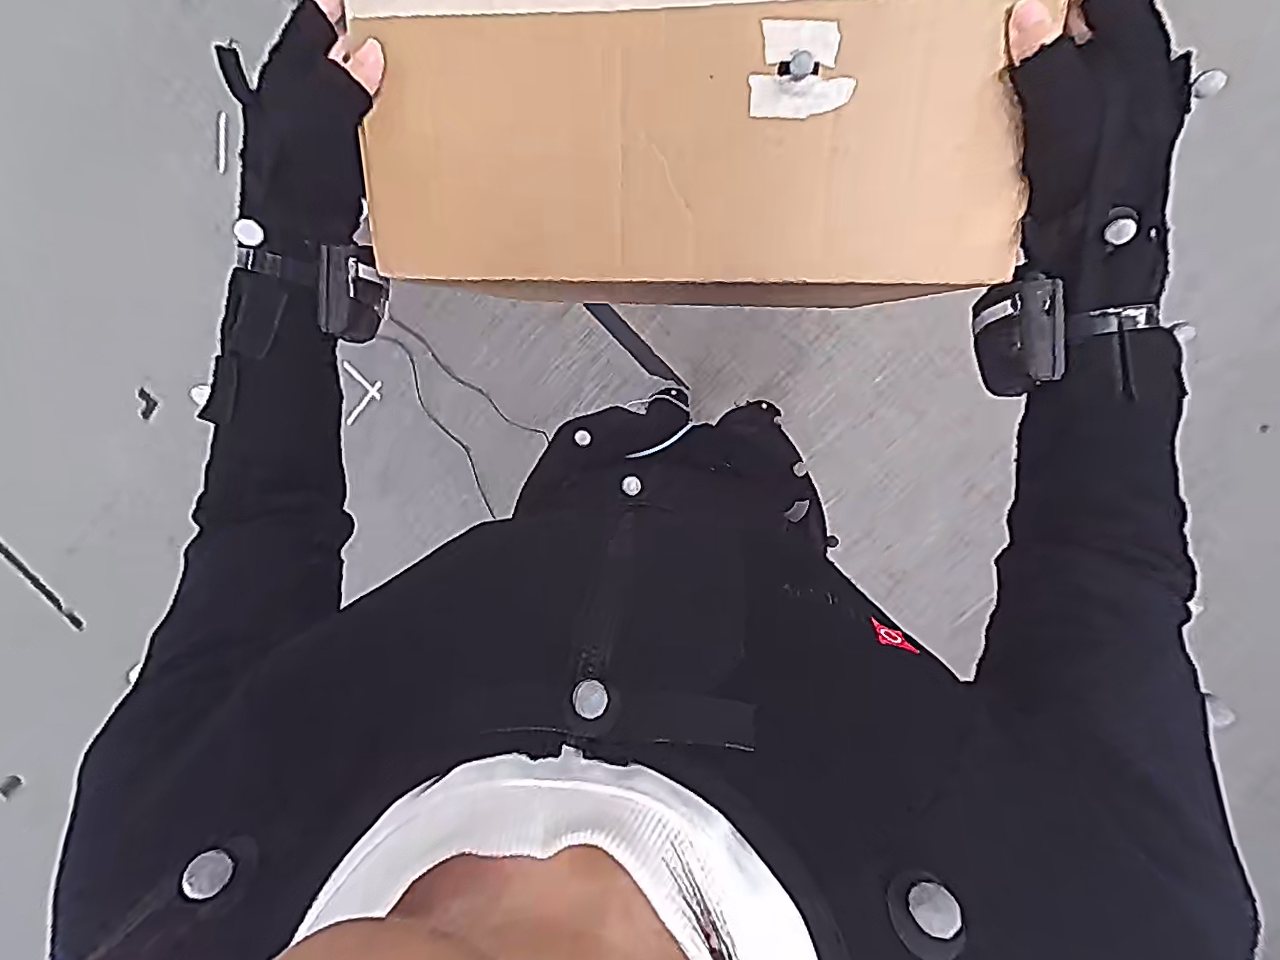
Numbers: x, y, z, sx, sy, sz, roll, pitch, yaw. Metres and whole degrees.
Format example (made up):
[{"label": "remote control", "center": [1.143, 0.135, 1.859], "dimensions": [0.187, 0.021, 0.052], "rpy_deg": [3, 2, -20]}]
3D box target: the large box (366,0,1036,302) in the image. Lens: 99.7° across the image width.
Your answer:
[{"label": "large box", "center": [0.038, -0.327, 0.461], "dimensions": [0.408, 0.320, 0.320], "rpy_deg": [1, 106, 5]}]
